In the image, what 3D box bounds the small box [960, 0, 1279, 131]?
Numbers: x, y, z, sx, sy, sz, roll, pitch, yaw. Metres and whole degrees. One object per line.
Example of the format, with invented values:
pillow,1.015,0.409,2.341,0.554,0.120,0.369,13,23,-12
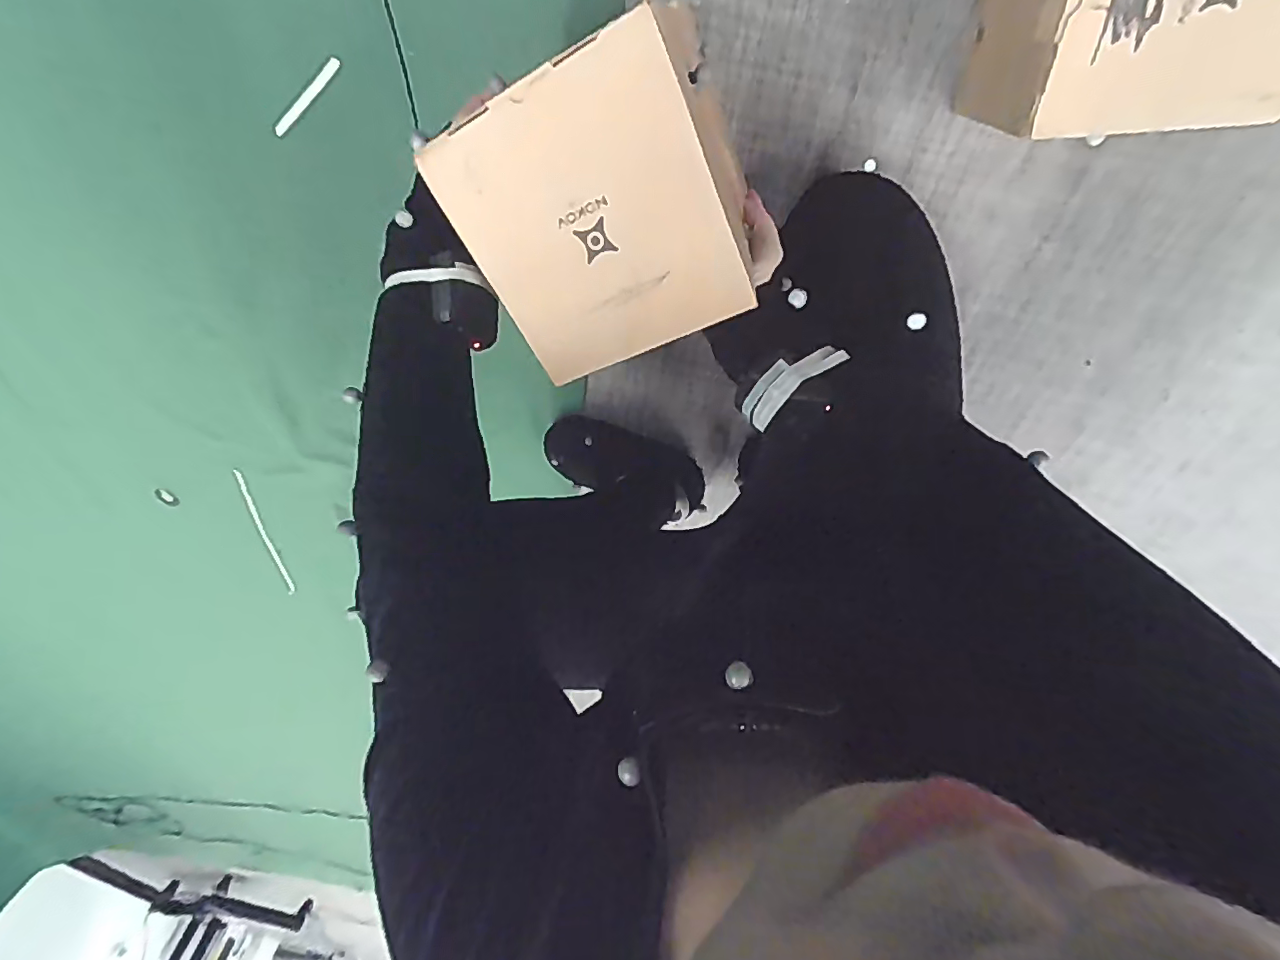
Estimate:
small box,0.385,-0.384,0.422,0.179,0.176,0.168,0,130,7
